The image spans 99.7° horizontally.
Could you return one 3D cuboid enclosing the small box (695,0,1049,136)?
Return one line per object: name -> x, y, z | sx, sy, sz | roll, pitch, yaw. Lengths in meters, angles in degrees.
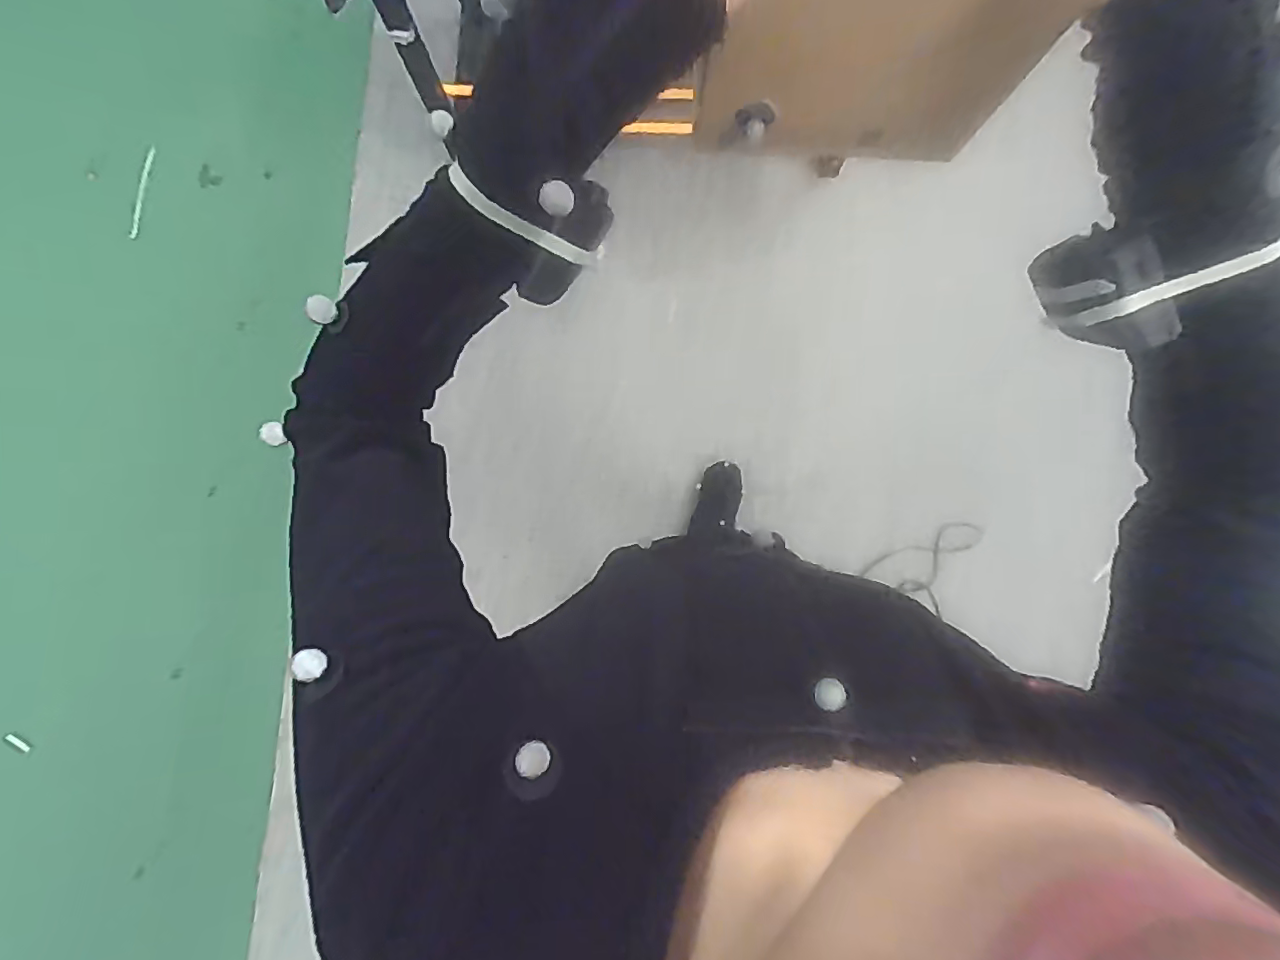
small box -> 0.121, -0.309, 0.268 | 0.168, 0.176, 0.179 | 2, 84, -1
